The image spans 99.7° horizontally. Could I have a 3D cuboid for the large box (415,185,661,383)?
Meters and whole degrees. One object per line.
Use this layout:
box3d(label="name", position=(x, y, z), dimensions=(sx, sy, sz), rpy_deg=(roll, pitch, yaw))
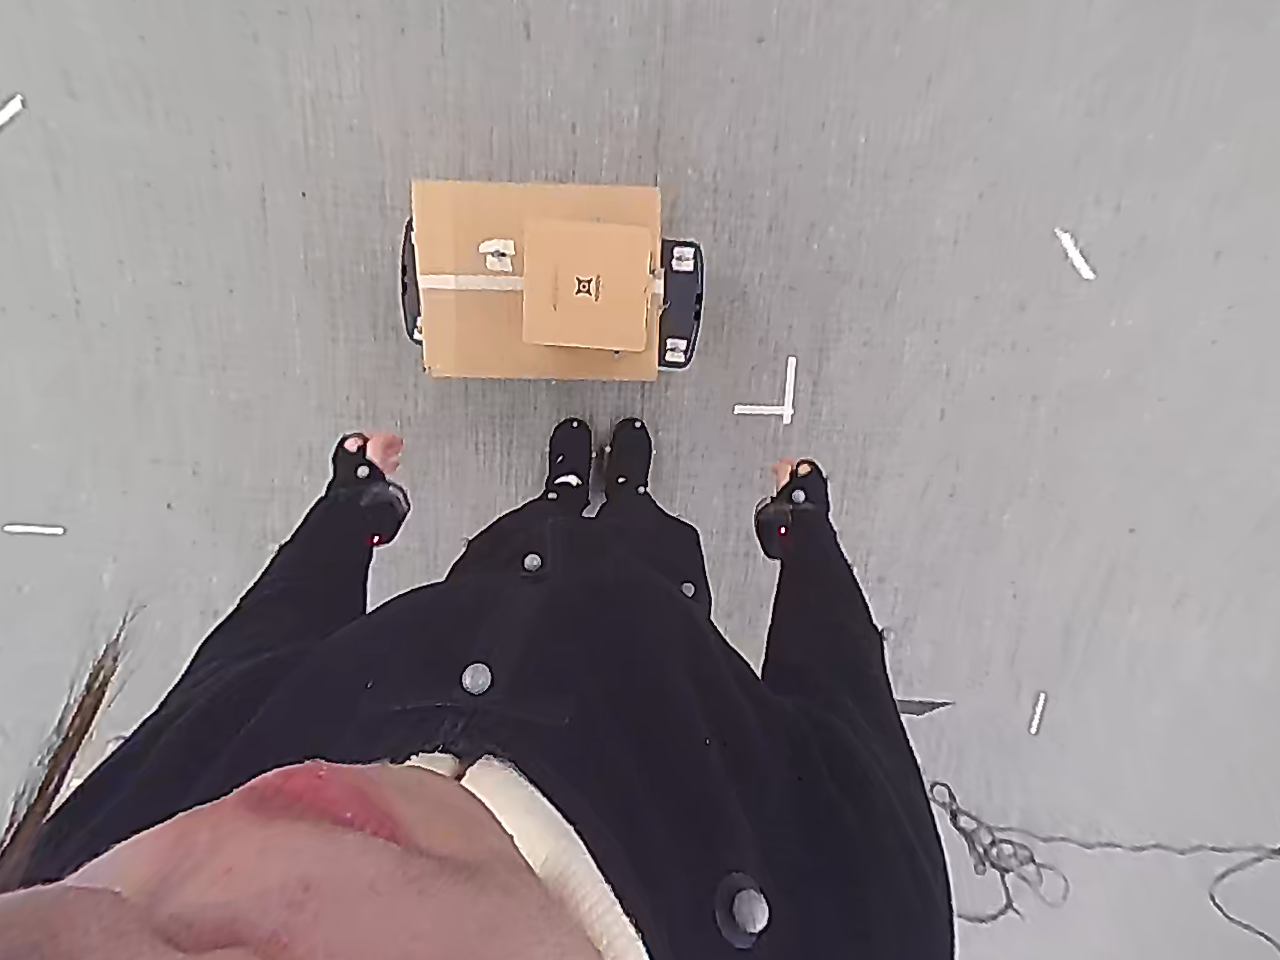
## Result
box3d(label="large box", position=(-0.165, -0.354, 1.045), dimensions=(0.408, 0.320, 0.320), rpy_deg=(1, 102, -1))

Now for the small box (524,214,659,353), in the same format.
box3d(label="small box", position=(-0.070, -0.283, 0.811), dimensions=(0.179, 0.176, 0.168), rpy_deg=(5, 103, -2))
